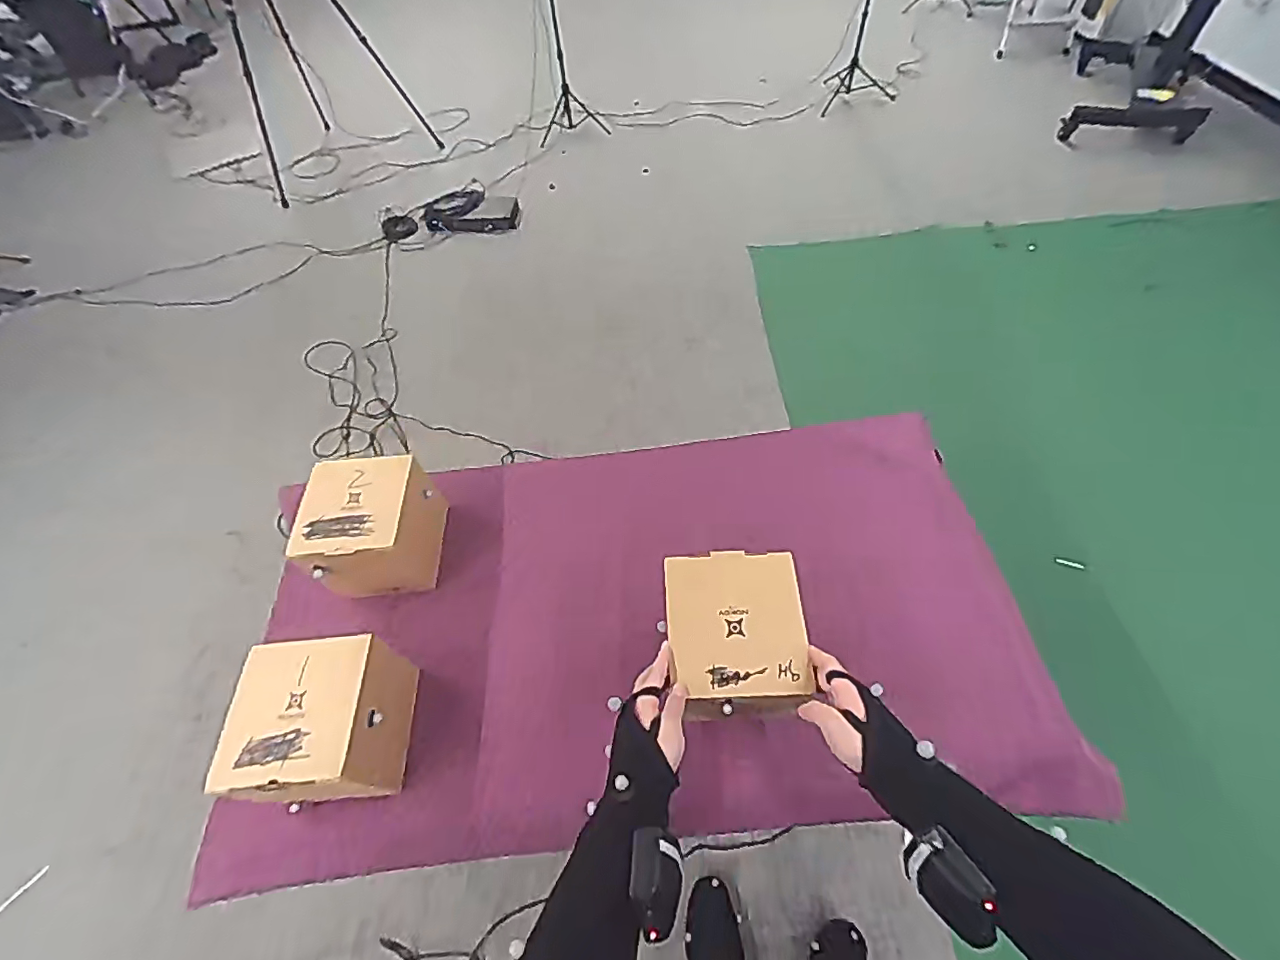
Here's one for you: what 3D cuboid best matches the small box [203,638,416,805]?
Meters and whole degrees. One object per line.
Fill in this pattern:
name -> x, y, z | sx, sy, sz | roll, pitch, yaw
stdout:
small box -> -0.426, 0.334, 0.735 | 0.168, 0.176, 0.179 | -5, 54, 0

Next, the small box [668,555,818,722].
small box -> 0.122, 0.214, 0.718 | 0.168, 0.176, 0.179 | -3, 58, 3
